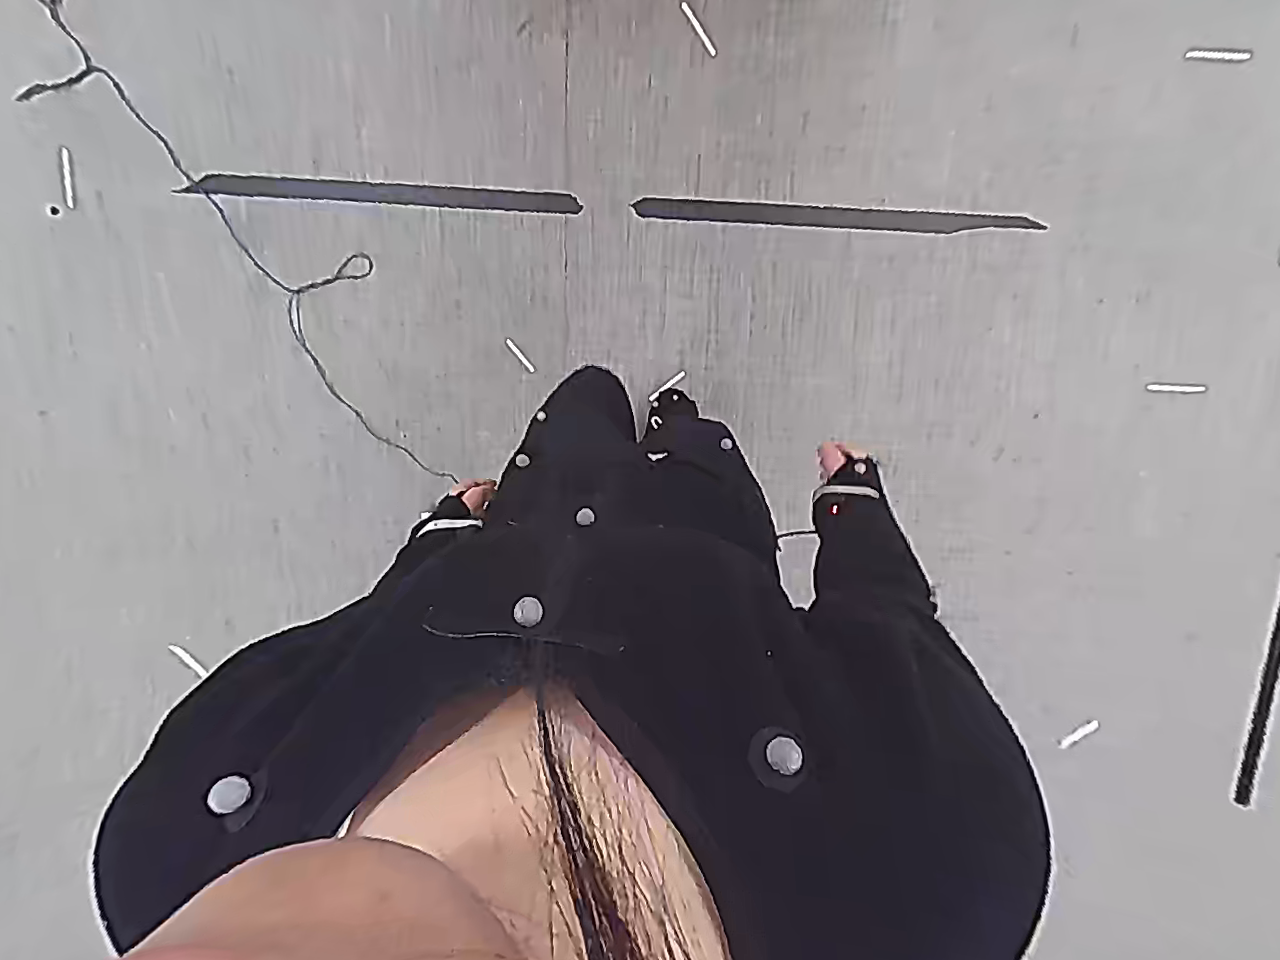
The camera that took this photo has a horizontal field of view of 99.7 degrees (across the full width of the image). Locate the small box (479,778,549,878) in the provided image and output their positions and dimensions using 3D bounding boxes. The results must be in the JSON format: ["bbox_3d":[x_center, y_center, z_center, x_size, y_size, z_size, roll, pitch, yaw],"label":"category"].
[{"bbox_3d":[-0.357,1.000,1.561,0.168,0.176,0.179,1,100,0],"label":"small box"}]
